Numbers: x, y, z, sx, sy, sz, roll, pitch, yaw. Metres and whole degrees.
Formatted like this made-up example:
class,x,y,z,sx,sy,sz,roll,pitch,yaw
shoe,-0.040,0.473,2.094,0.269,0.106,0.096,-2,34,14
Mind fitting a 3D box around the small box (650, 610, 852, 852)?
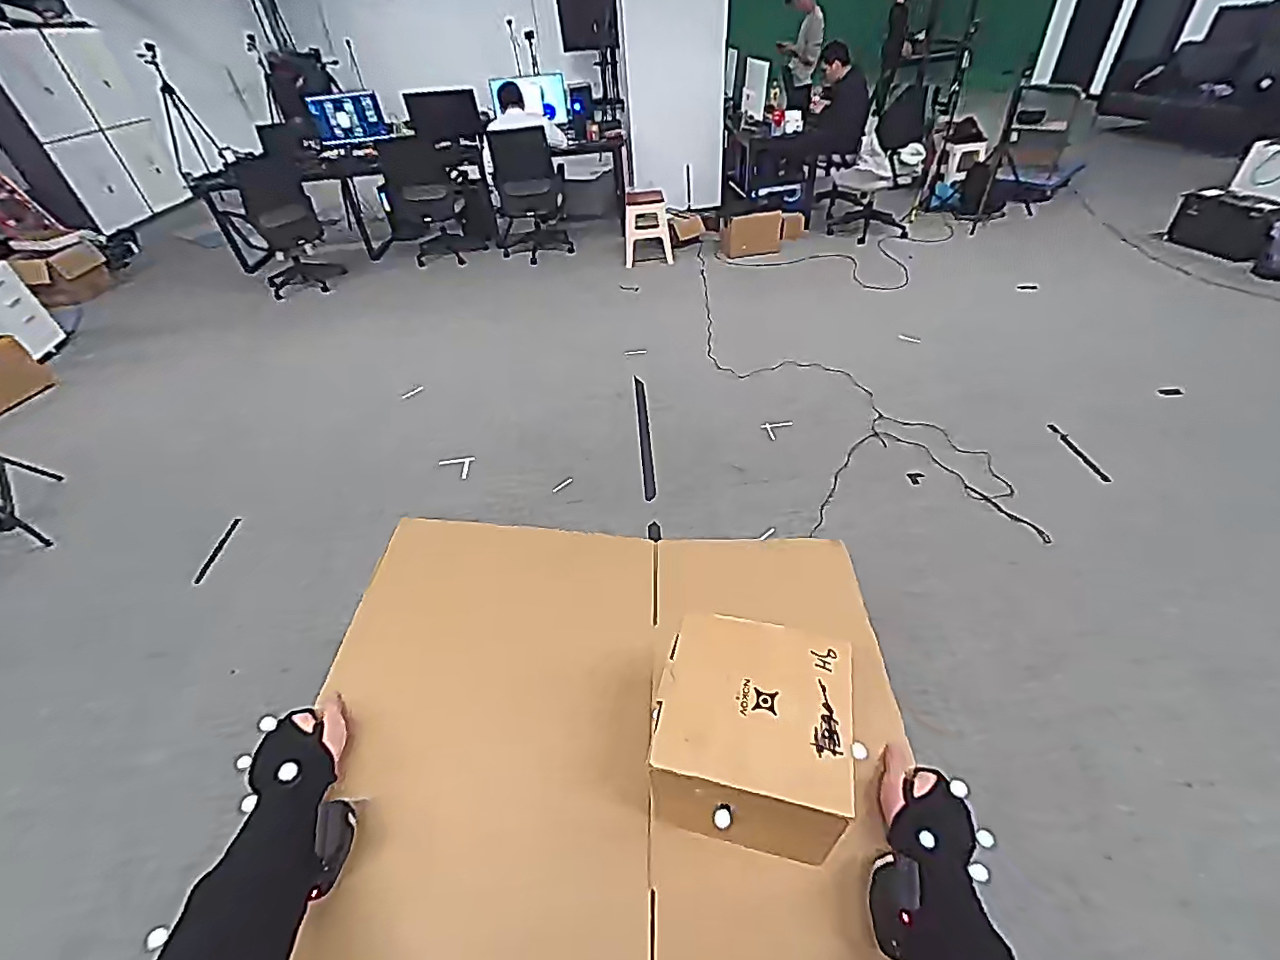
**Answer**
class,x,y,z,sx,sy,sz,roll,pitch,yaw
small box,0.119,0.265,0.573,0.179,0.176,0.168,7,45,14
